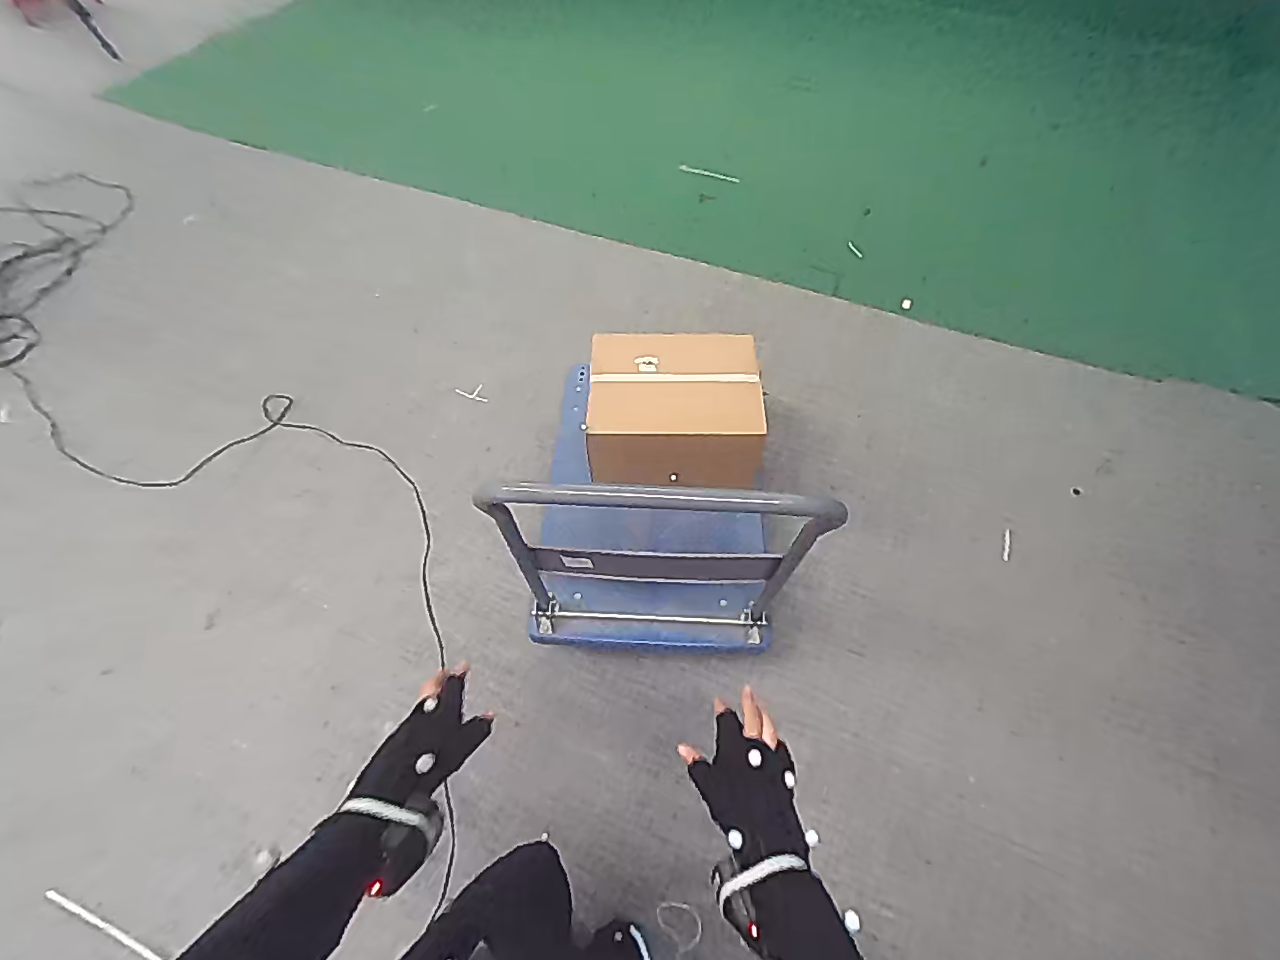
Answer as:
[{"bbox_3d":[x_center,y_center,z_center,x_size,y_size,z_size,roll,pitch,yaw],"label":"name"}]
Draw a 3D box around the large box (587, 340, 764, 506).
[{"bbox_3d":[0.081,-0.139,1.411,0.408,0.320,0.320,-1,57,1],"label":"large box"}]
